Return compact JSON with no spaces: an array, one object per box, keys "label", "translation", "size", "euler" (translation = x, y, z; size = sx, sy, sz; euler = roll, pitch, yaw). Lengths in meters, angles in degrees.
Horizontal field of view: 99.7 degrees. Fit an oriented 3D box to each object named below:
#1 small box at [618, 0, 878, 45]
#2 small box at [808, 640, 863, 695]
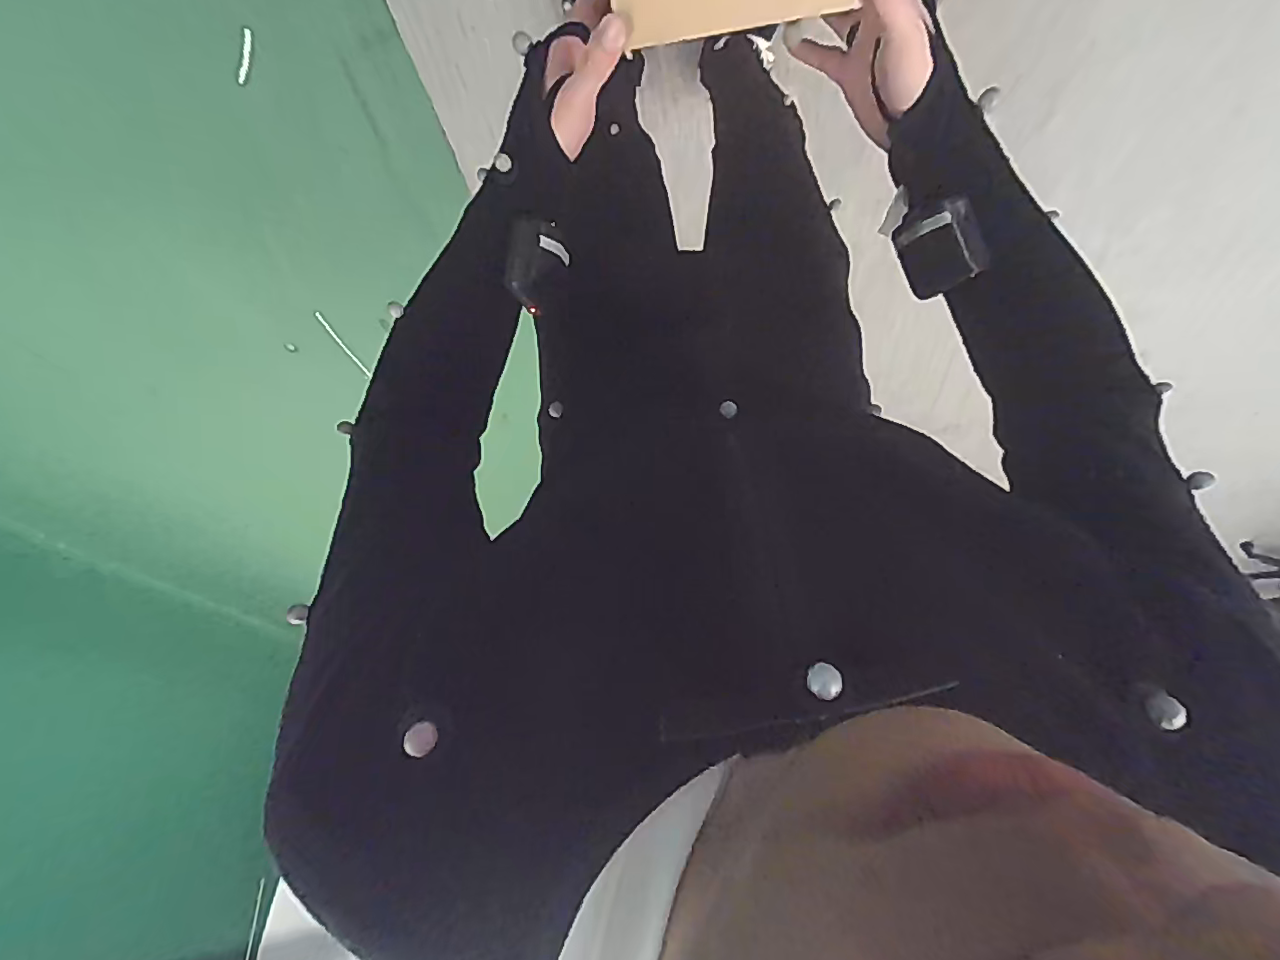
[{"label":"small box","translation":[0.063,-0.421,0.369],"size":[0.179,0.176,0.168],"euler":[-6,132,5]},{"label":"small box","translation":[0.765,0.741,2.135],"size":[0.179,0.176,0.168],"euler":[-8,146,11]}]
